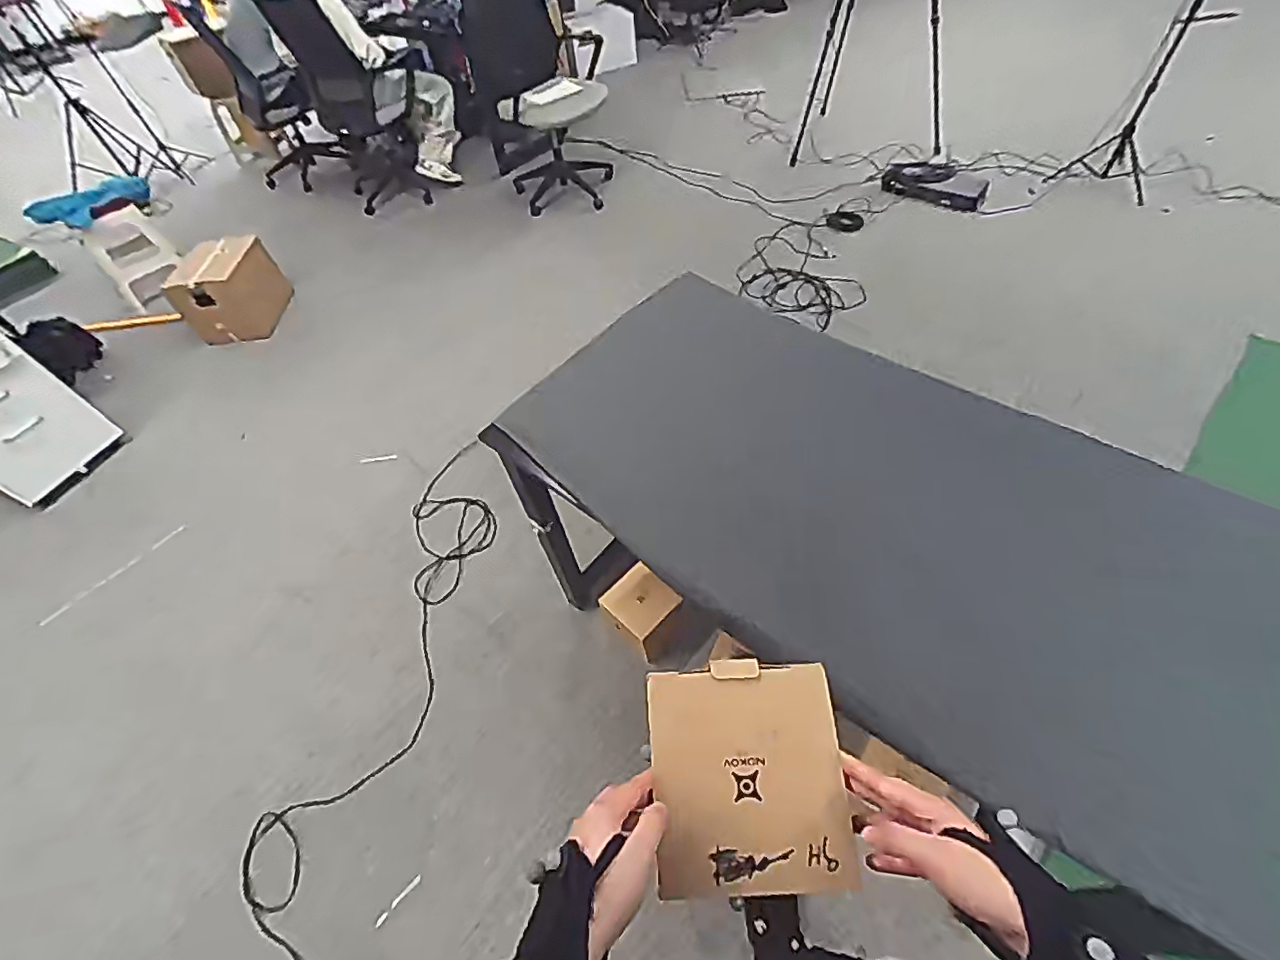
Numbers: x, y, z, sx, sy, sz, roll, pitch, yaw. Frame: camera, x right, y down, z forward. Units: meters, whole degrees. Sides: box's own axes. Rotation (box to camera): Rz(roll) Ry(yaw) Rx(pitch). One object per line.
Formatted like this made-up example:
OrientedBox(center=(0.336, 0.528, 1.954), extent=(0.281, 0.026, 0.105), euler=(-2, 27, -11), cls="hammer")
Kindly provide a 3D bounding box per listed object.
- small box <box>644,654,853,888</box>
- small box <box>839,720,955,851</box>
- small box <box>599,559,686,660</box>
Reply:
OrientedBox(center=(0.090, 0.276, 0.540), extent=(0.168, 0.176, 0.179), euler=(-4, 68, 2), cls="small box")
OrientedBox(center=(0.537, 0.660, 1.160), extent=(0.168, 0.176, 0.179), euler=(28, 60, 25), cls="small box")
OrientedBox(center=(0.015, 0.357, 1.472), extent=(0.179, 0.176, 0.168), euler=(-40, 57, -23), cls="small box")
